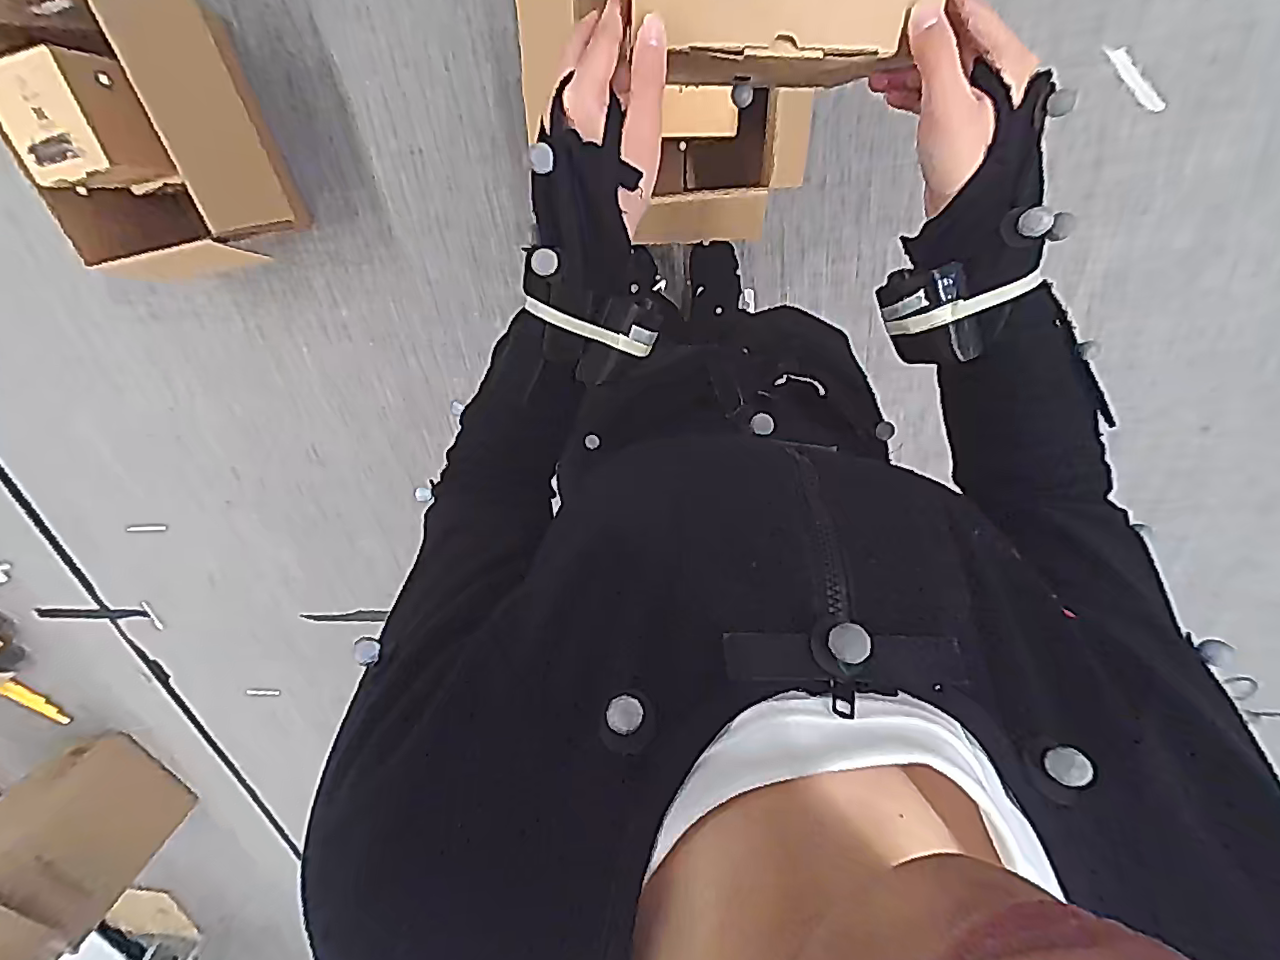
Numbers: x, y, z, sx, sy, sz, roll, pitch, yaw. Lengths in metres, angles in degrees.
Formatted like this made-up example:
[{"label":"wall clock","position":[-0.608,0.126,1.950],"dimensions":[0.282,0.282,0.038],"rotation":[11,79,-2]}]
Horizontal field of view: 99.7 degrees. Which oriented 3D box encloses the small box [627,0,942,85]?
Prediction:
[{"label":"small box","position":[0.077,-0.353,0.318],"dimensions":[0.168,0.176,0.179],"rotation":[0,121,-2]}]
